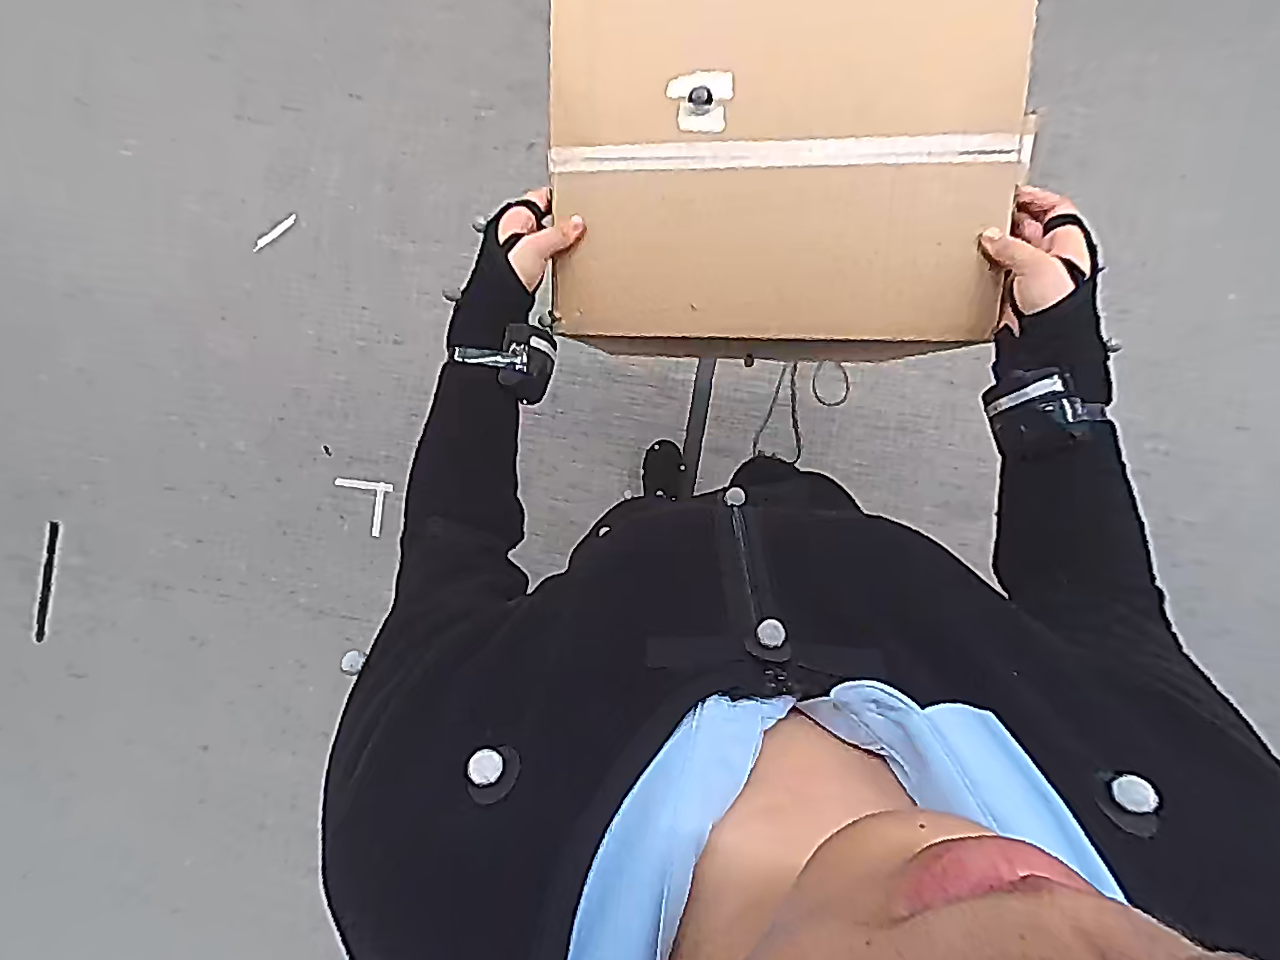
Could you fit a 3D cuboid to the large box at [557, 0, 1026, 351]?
[{"bbox_3d":[0.141,-0.316,0.632,0.408,0.320,0.320,3,99,8],"label":"large box"}]
